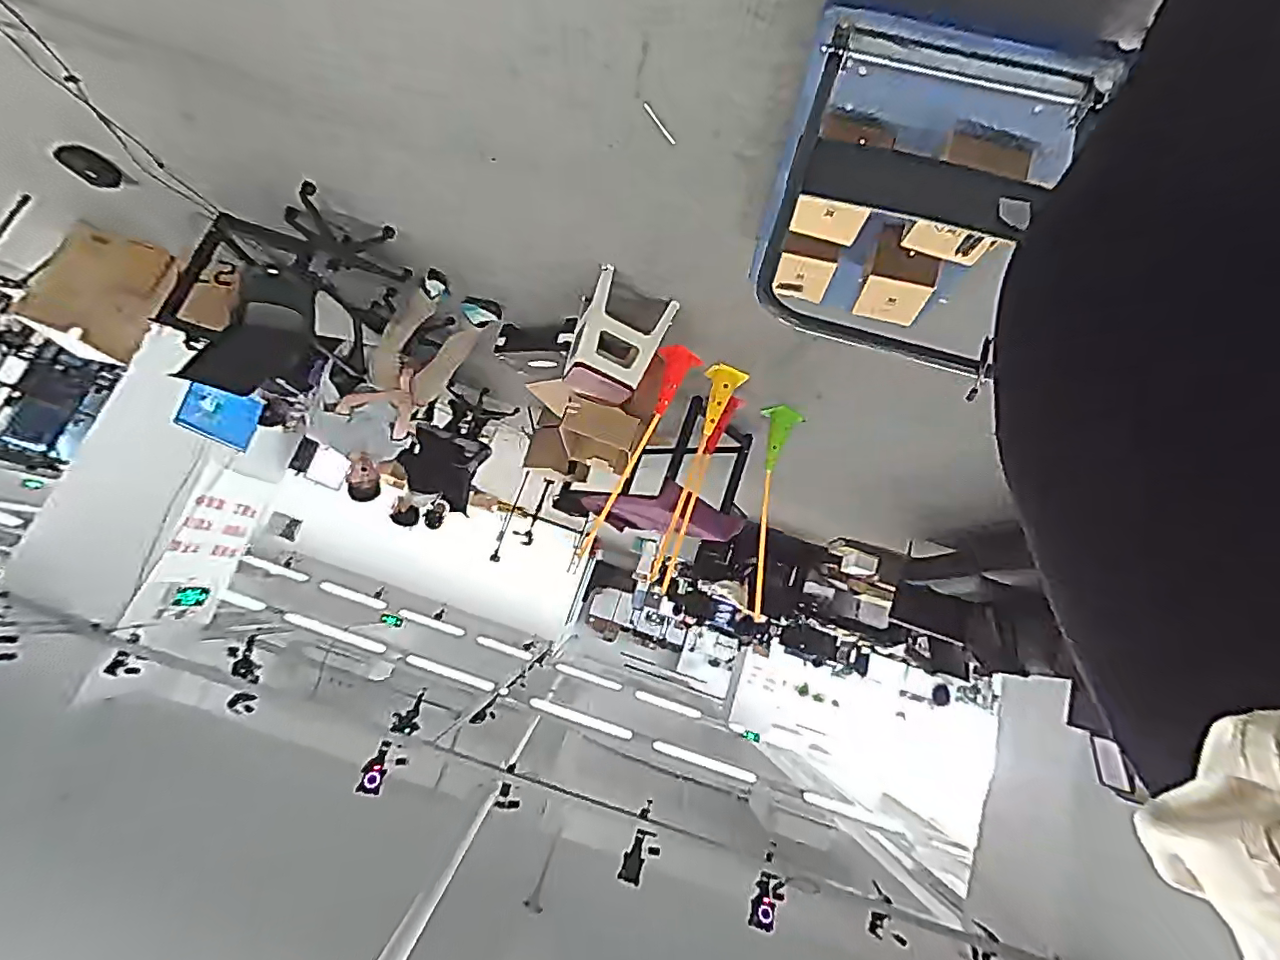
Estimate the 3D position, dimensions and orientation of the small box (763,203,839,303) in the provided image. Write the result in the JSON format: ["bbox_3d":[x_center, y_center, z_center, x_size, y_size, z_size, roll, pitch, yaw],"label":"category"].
[{"bbox_3d":[0.457,-0.633,1.514,0.168,0.176,0.179,16,165,7],"label":"small box"}]

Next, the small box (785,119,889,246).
[{"bbox_3d":[0.462,-0.695,1.272,0.168,0.176,0.179,17,165,3],"label":"small box"}]
